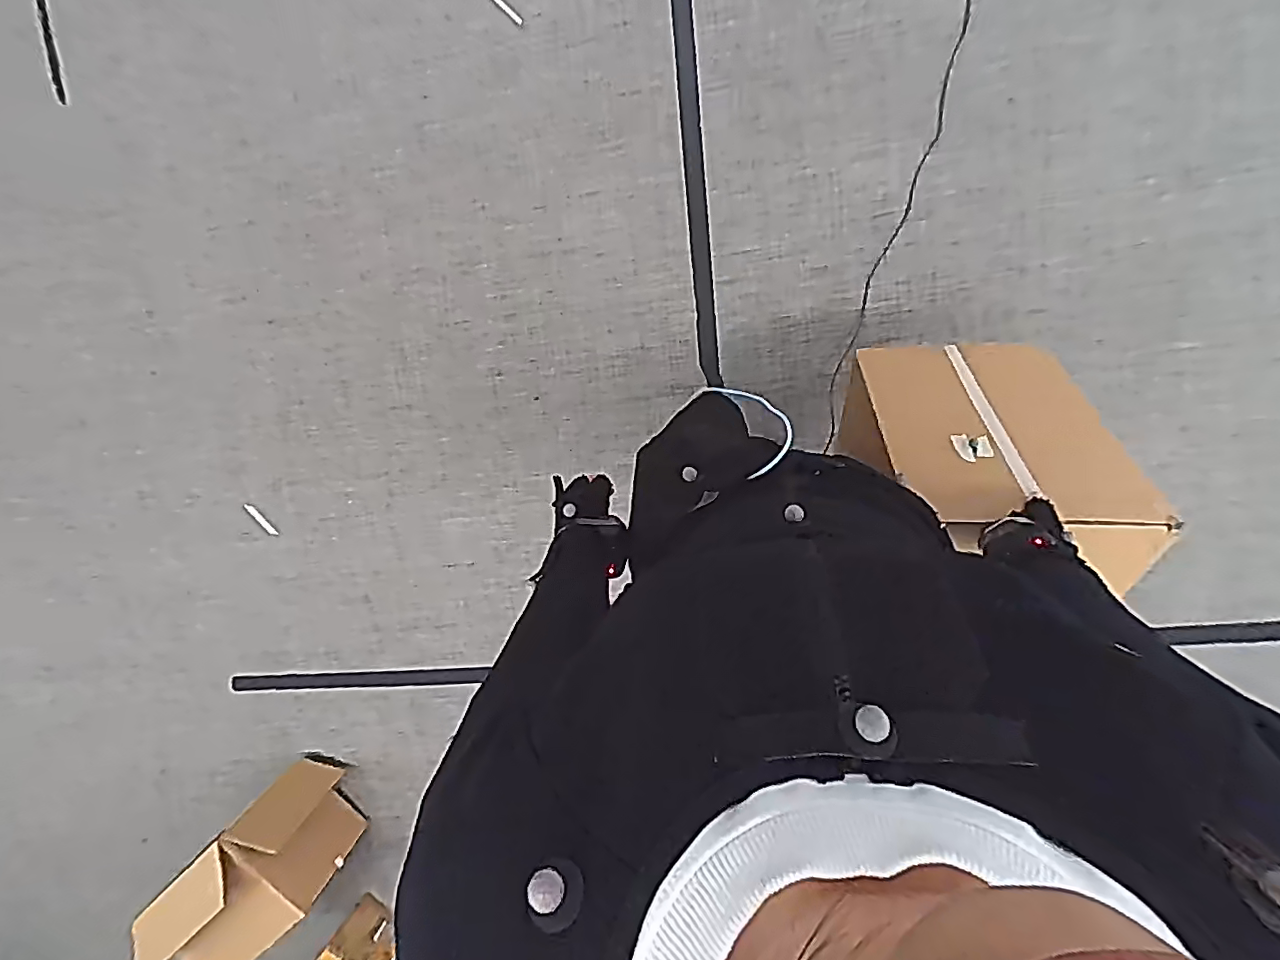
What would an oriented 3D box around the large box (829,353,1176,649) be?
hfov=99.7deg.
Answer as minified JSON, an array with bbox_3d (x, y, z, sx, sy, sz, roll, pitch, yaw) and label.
[{"bbox_3d":[0.530,0.026,0.916,0.320,0.408,0.320,-1,136,8],"label":"large box"}]
